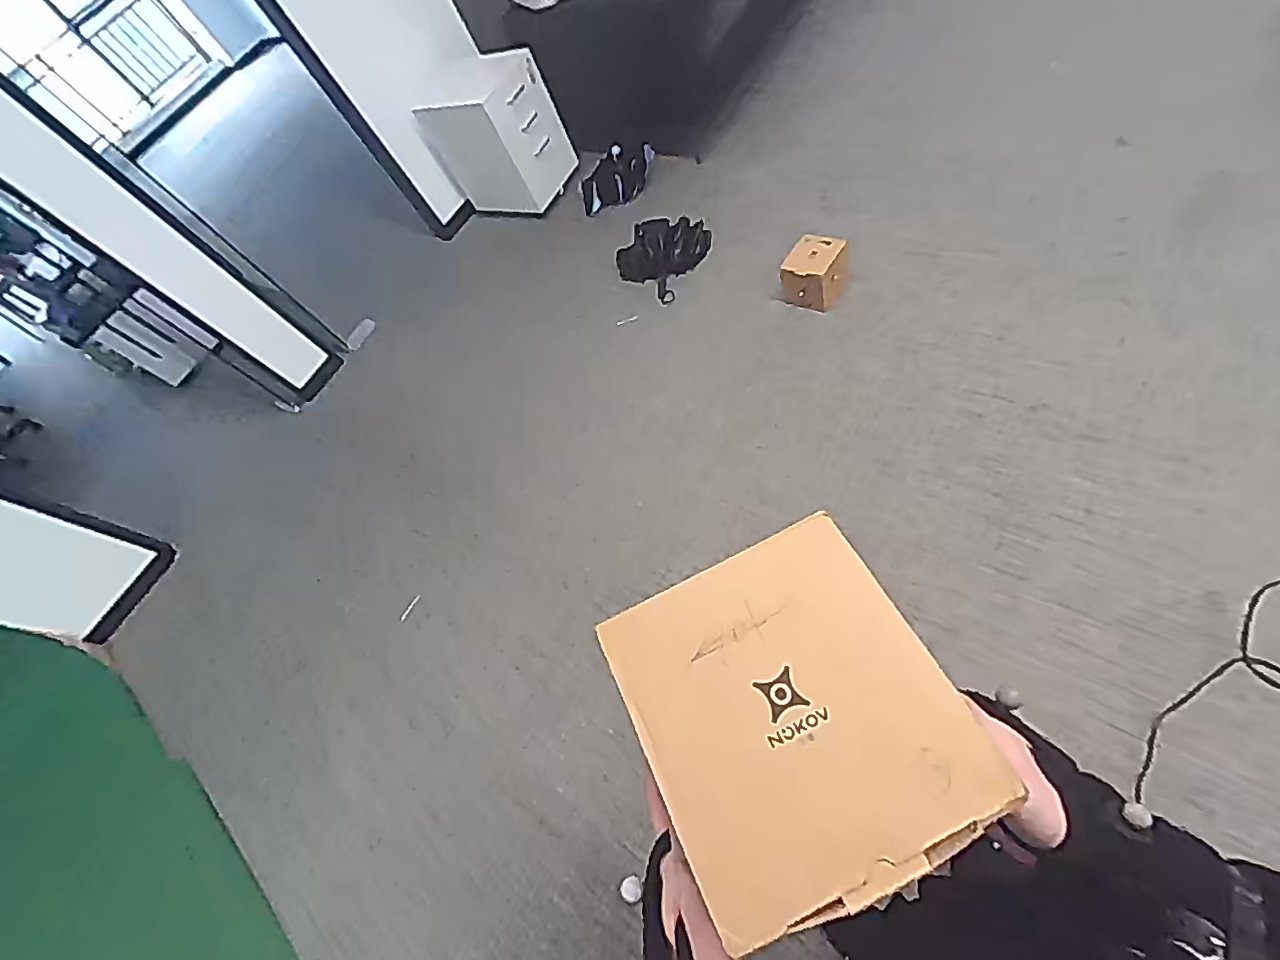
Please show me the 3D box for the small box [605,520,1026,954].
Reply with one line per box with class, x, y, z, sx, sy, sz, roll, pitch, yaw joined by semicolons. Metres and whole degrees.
small box;0.098;0.163;0.370;0.168;0.176;0.179;-26;58;-4
